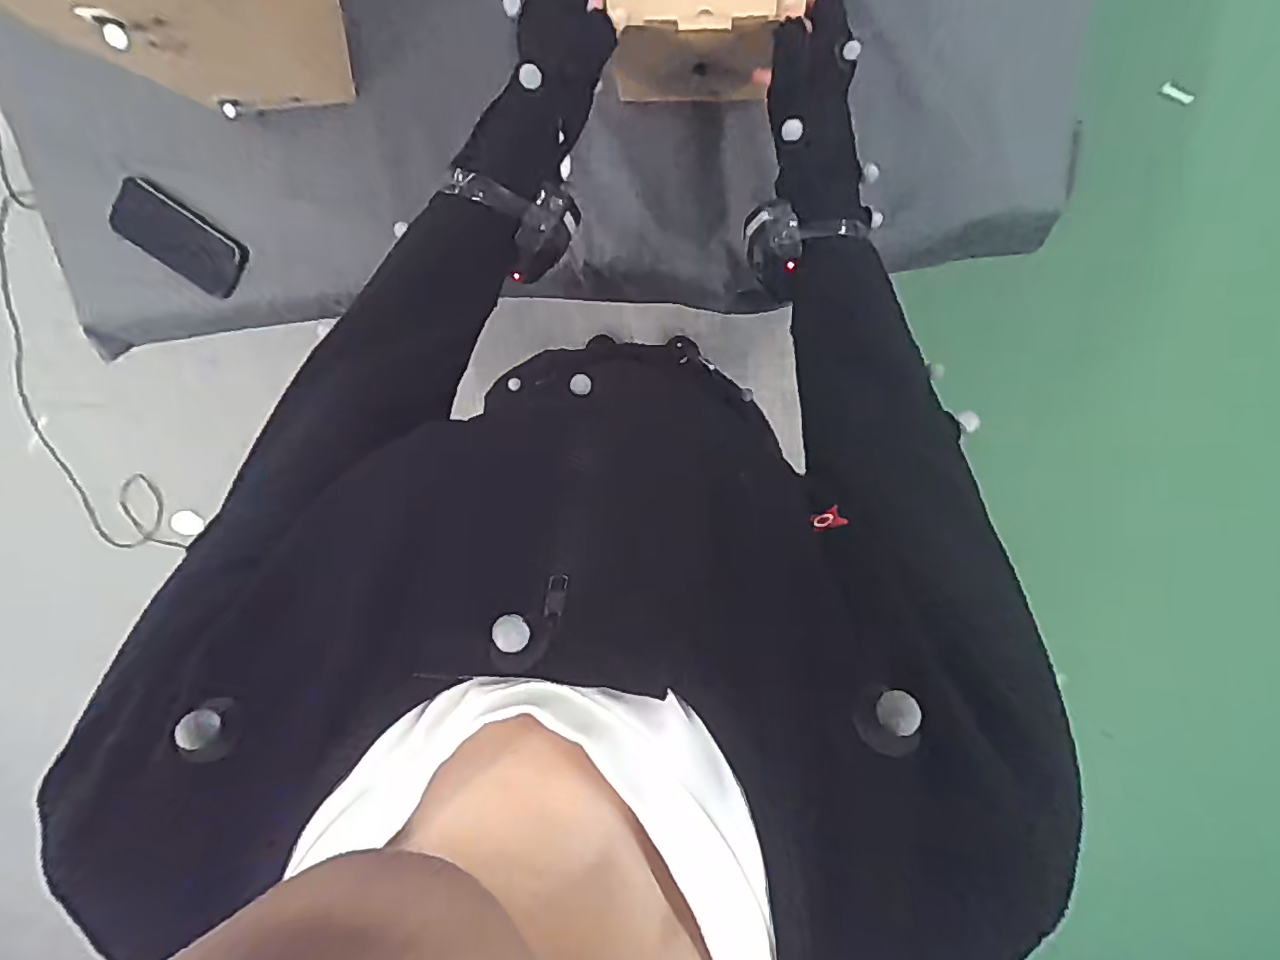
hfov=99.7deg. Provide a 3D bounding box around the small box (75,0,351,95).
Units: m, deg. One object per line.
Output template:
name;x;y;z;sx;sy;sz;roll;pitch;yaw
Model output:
small box;-0.408;-0.497;0.516;0.168;0.176;0.179;-2;105;3

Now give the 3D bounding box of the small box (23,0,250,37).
small box;-0.415;-0.446;0.362;0.168;0.176;0.179;-3;107;5

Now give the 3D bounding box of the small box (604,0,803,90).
small box;0.058;-0.484;0.495;0.168;0.176;0.179;1;107;3
